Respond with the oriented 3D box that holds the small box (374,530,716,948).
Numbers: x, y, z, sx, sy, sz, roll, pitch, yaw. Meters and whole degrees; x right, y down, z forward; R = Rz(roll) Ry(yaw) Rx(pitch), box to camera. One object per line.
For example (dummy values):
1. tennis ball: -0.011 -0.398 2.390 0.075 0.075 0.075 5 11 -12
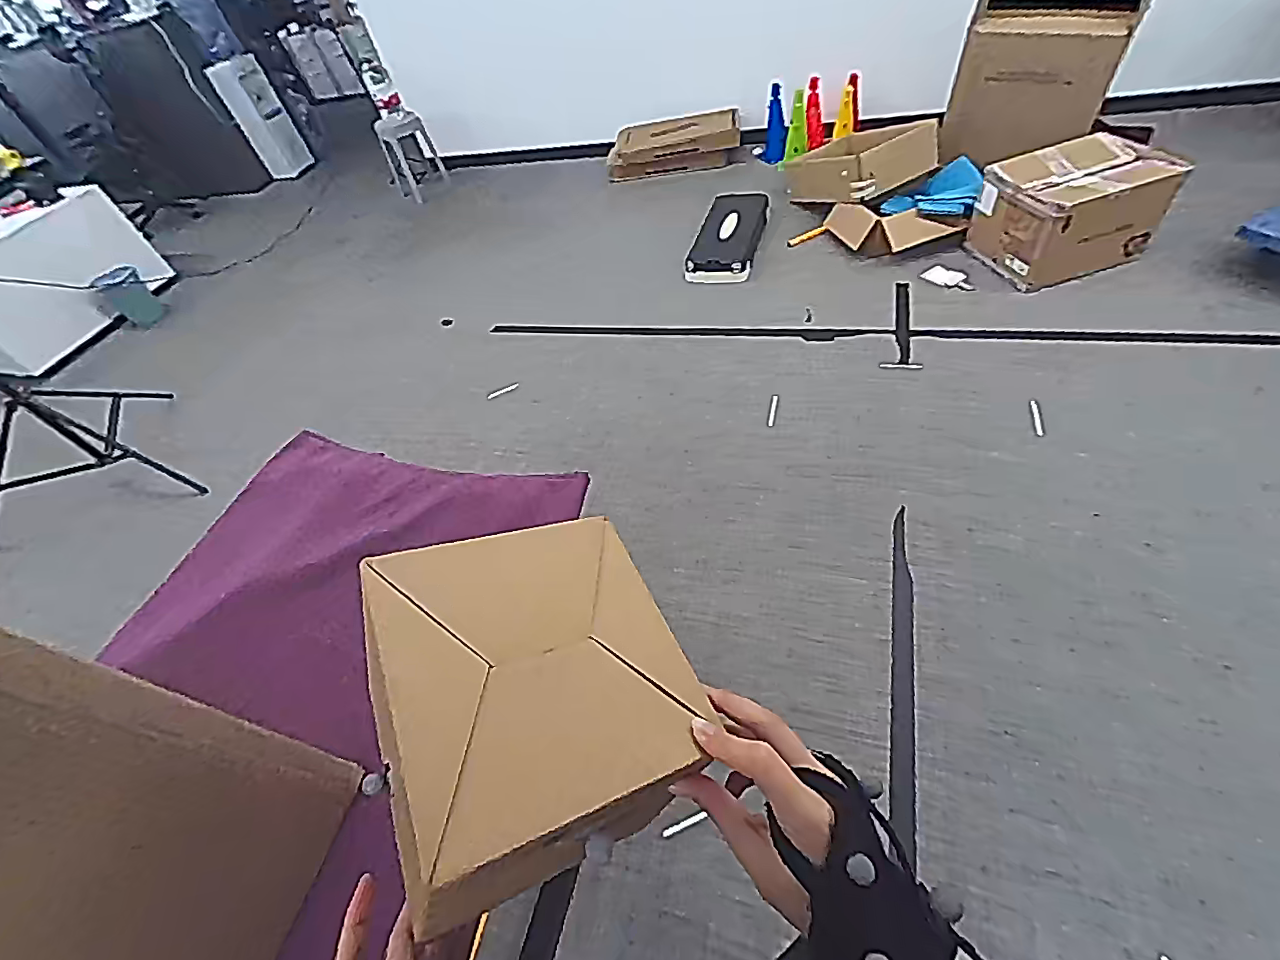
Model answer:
1. small box: -0.075 0.157 0.364 0.168 0.176 0.179 -8 49 -31
